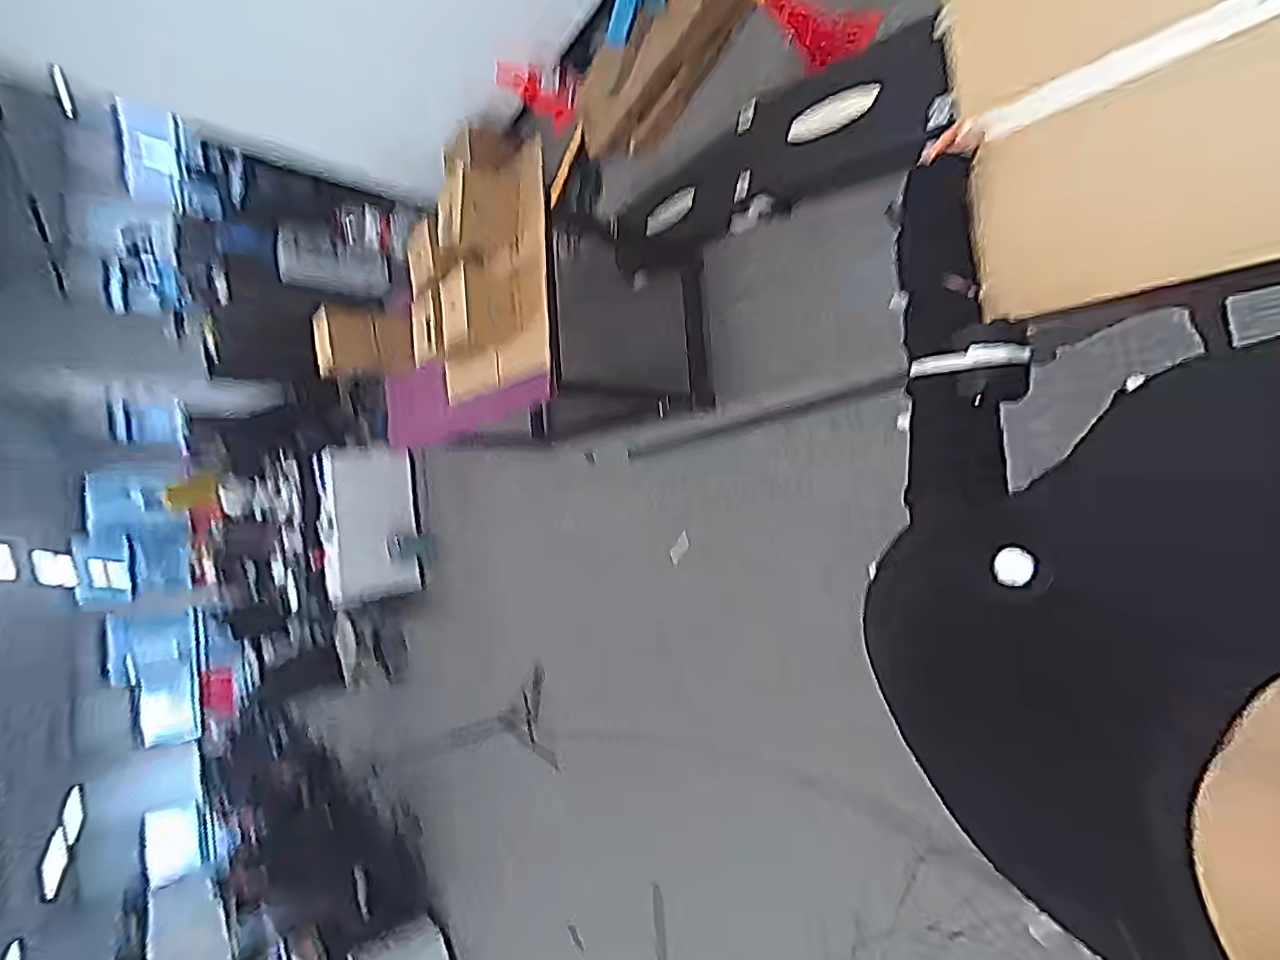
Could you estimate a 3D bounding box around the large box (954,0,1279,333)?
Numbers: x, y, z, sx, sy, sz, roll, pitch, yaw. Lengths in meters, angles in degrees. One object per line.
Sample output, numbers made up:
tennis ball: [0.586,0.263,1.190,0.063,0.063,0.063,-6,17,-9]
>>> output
large box: [0.524,-0.324,0.427,0.408,0.320,0.320,-5,96,44]
